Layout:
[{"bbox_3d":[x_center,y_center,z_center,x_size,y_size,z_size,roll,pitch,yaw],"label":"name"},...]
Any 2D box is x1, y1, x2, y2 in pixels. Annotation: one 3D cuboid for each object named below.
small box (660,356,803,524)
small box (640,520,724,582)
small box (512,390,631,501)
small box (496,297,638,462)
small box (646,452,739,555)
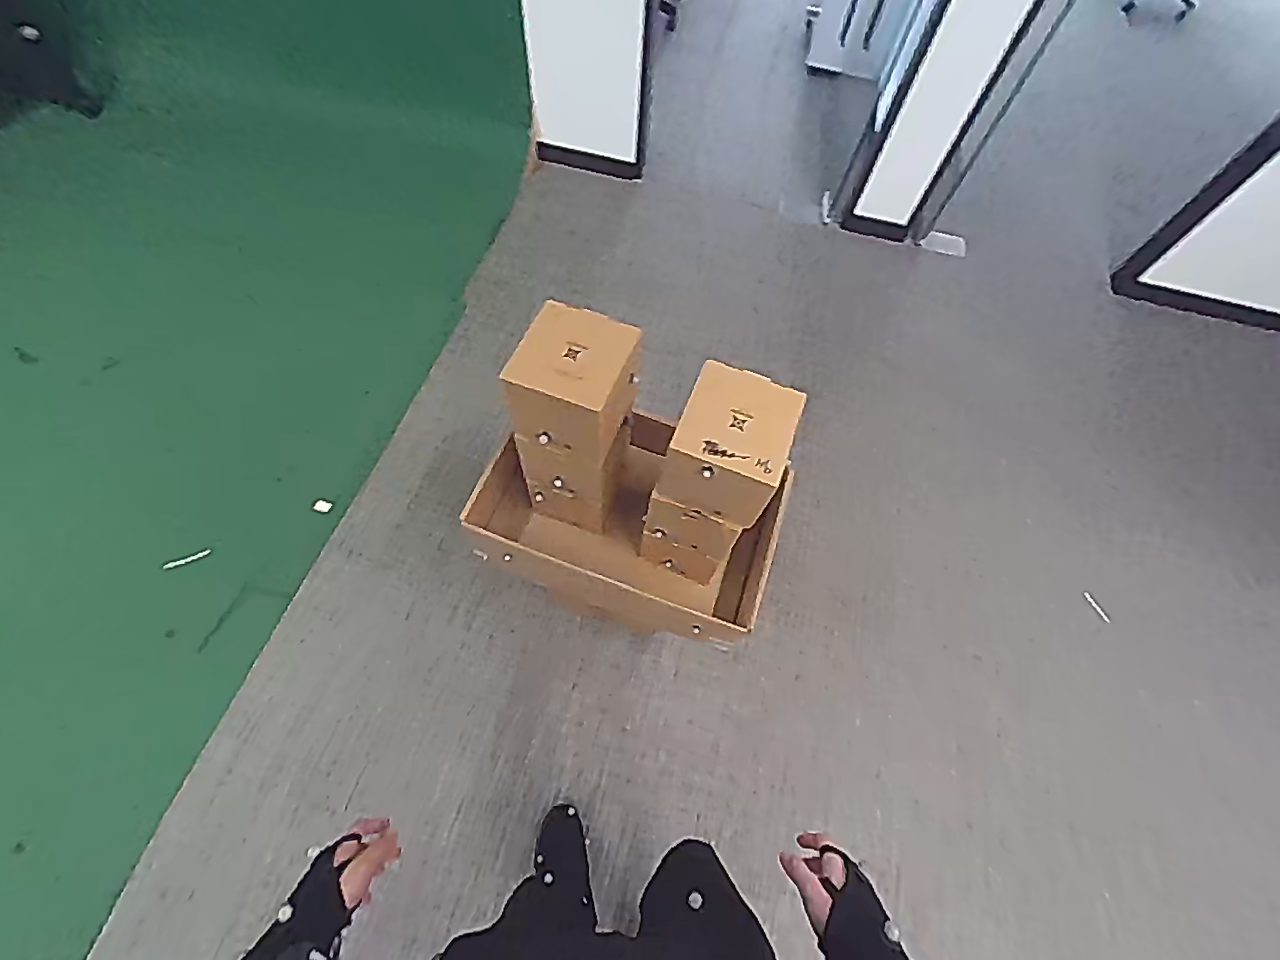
[{"bbox_3d":[0.137,-0.058,0.861,0.168,0.176,0.179,21,64,7],"label":"small box"},{"bbox_3d":[0.104,0.092,1.152,0.168,0.176,0.179,20,64,6],"label":"small box"},{"bbox_3d":[-0.125,-0.088,1.040,0.168,0.176,0.179,19,63,6],"label":"small box"},{"bbox_3d":[-0.114,-0.162,0.895,0.168,0.176,0.179,19,63,7],"label":"small box"},{"bbox_3d":[0.115,0.018,1.005,0.168,0.176,0.179,21,63,6],"label":"small box"}]
